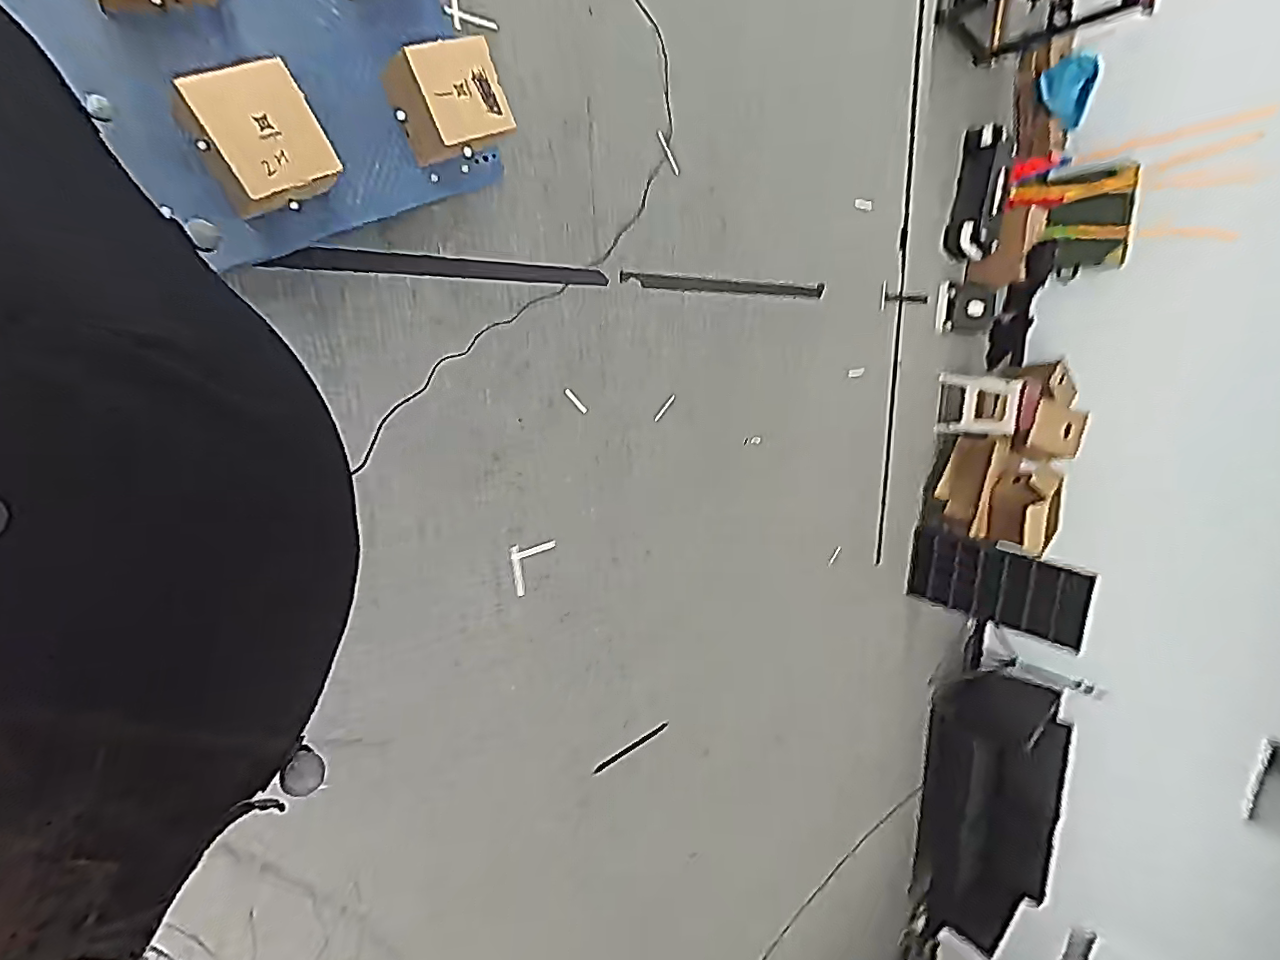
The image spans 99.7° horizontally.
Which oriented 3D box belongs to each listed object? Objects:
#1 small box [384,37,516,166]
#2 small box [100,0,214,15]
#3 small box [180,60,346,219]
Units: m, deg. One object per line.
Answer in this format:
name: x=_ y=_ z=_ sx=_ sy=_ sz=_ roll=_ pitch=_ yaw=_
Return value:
small box: x=-0.399 y=-0.785 z=1.130 sx=0.179 sy=0.176 sz=0.168 roll=-37 pitch=121 yaw=-27
small box: x=-0.767 y=-0.840 z=0.804 sx=0.168 sy=0.176 sz=0.179 roll=-36 pitch=123 yaw=-30
small box: x=-0.662 y=-0.588 z=0.950 sx=0.168 sy=0.176 sz=0.179 roll=-40 pitch=123 yaw=-27
